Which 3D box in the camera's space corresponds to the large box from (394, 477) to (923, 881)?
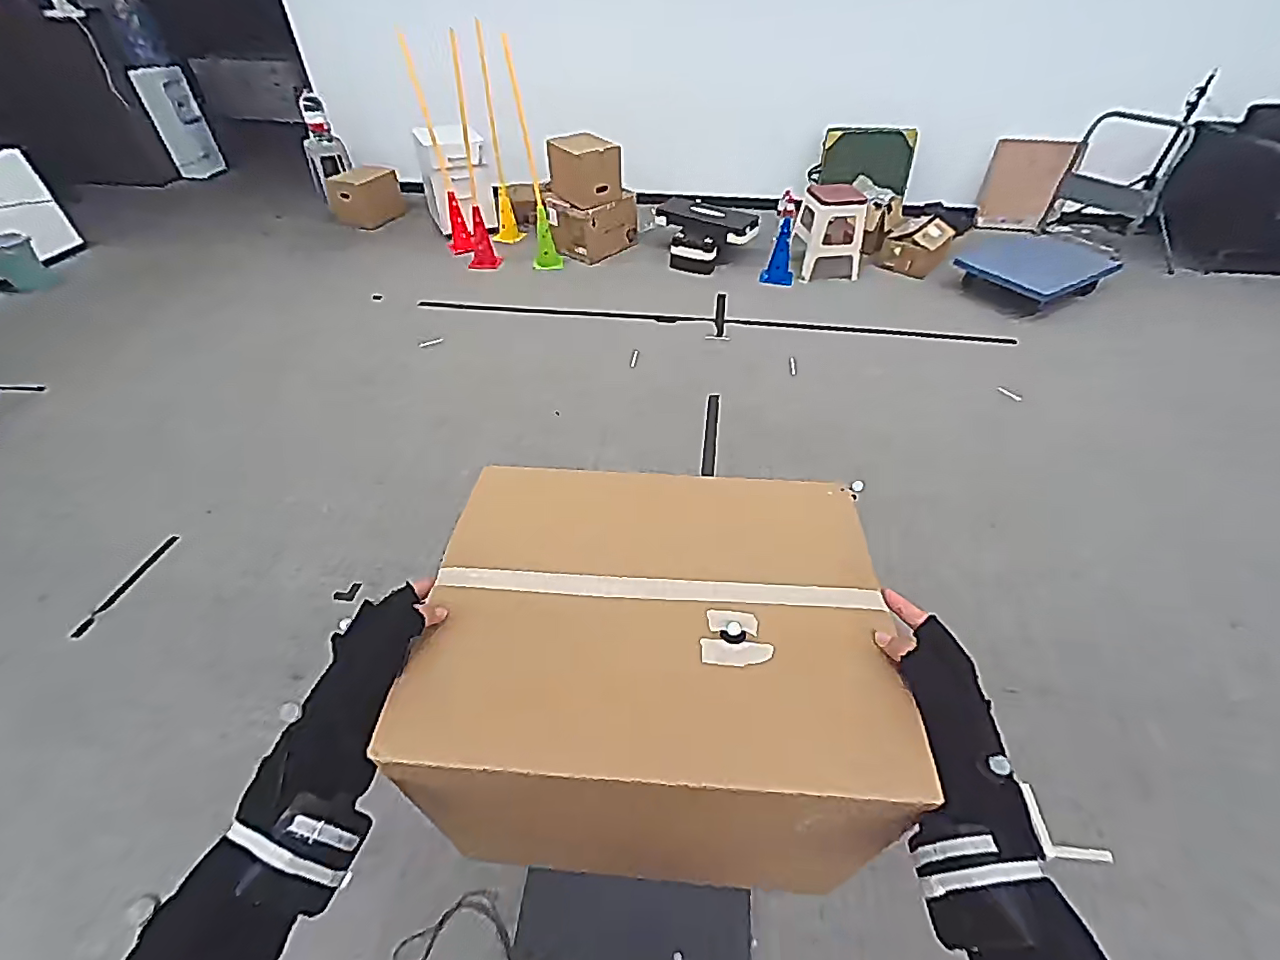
[{"bbox_3d":[0.017,0.217,0.607,0.408,0.320,0.320,3,44,3],"label":"large box"}]
